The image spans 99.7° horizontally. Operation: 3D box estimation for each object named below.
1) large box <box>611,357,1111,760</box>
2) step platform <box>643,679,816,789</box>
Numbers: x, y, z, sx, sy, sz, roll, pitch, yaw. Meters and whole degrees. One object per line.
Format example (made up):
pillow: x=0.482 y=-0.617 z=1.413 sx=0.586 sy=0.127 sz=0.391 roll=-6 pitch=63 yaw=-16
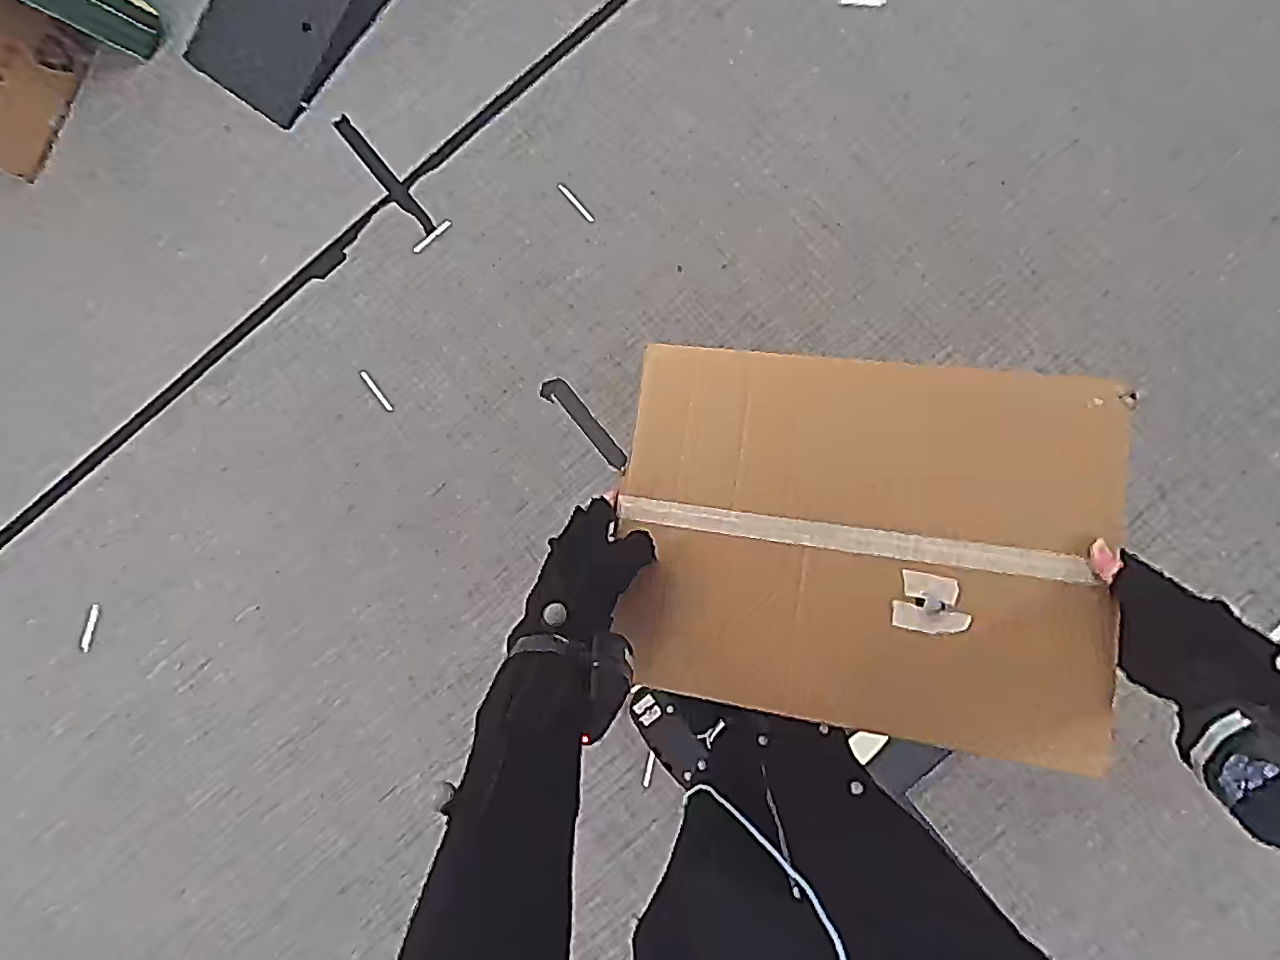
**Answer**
large box: x=0.210 y=0.068 z=0.629 sx=0.408 sy=0.320 sz=0.320 roll=8 pitch=86 yaw=12
step platform: x=0.333 y=0.392 z=1.291 sx=0.684 sy=0.204 sz=0.286 roll=-42 pitch=81 yaw=-1
